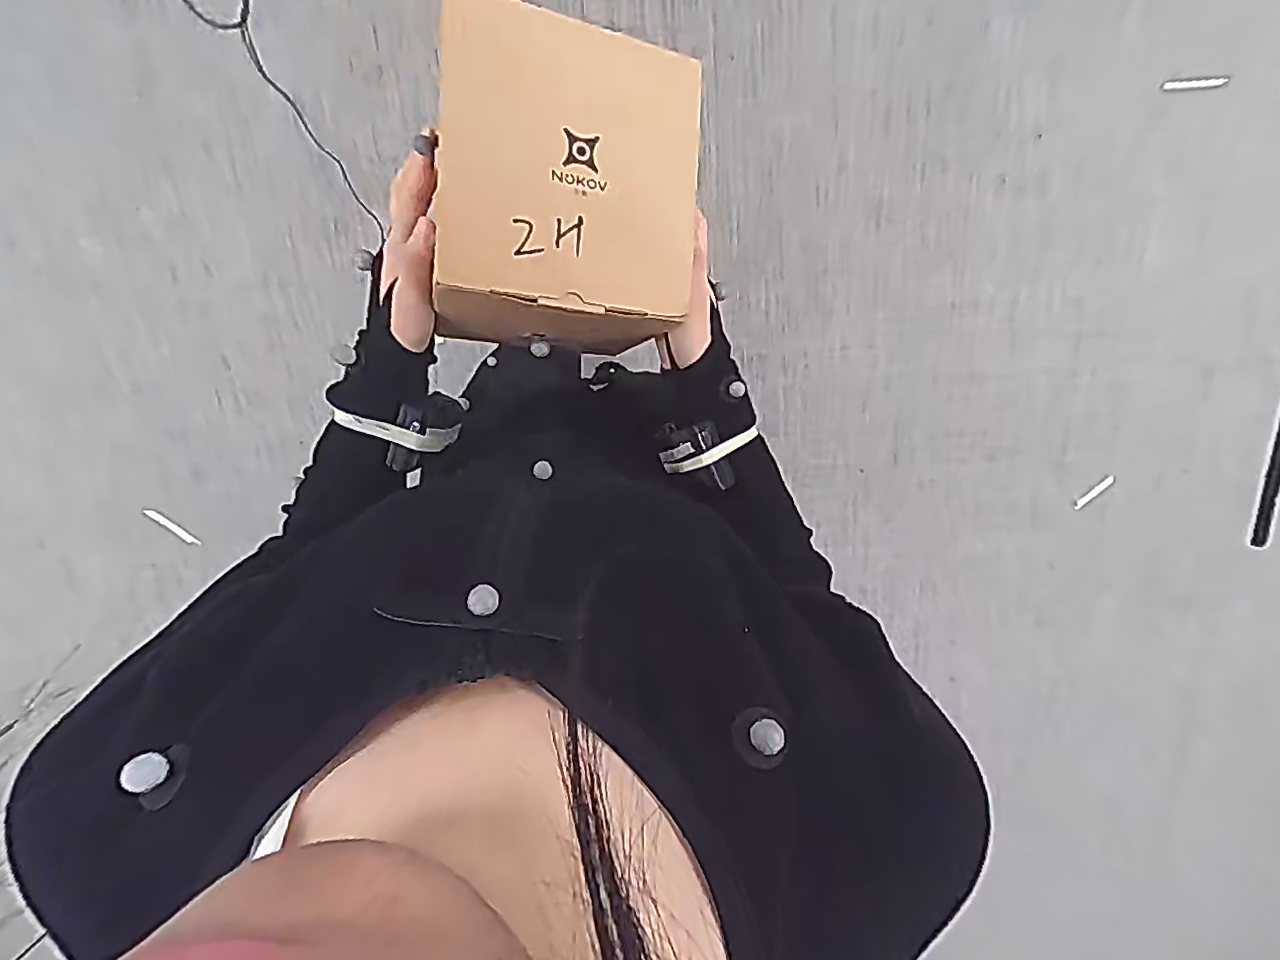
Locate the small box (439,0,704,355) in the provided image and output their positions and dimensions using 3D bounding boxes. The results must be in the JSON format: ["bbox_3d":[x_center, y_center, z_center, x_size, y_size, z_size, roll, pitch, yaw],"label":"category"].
[{"bbox_3d":[-0.064,-0.205,0.415,0.168,0.176,0.179,2,92,-20],"label":"small box"}]

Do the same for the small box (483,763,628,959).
[{"bbox_3d":[-0.103,0.507,0.726,0.168,0.176,0.179,-3,104,-1],"label":"small box"}]
